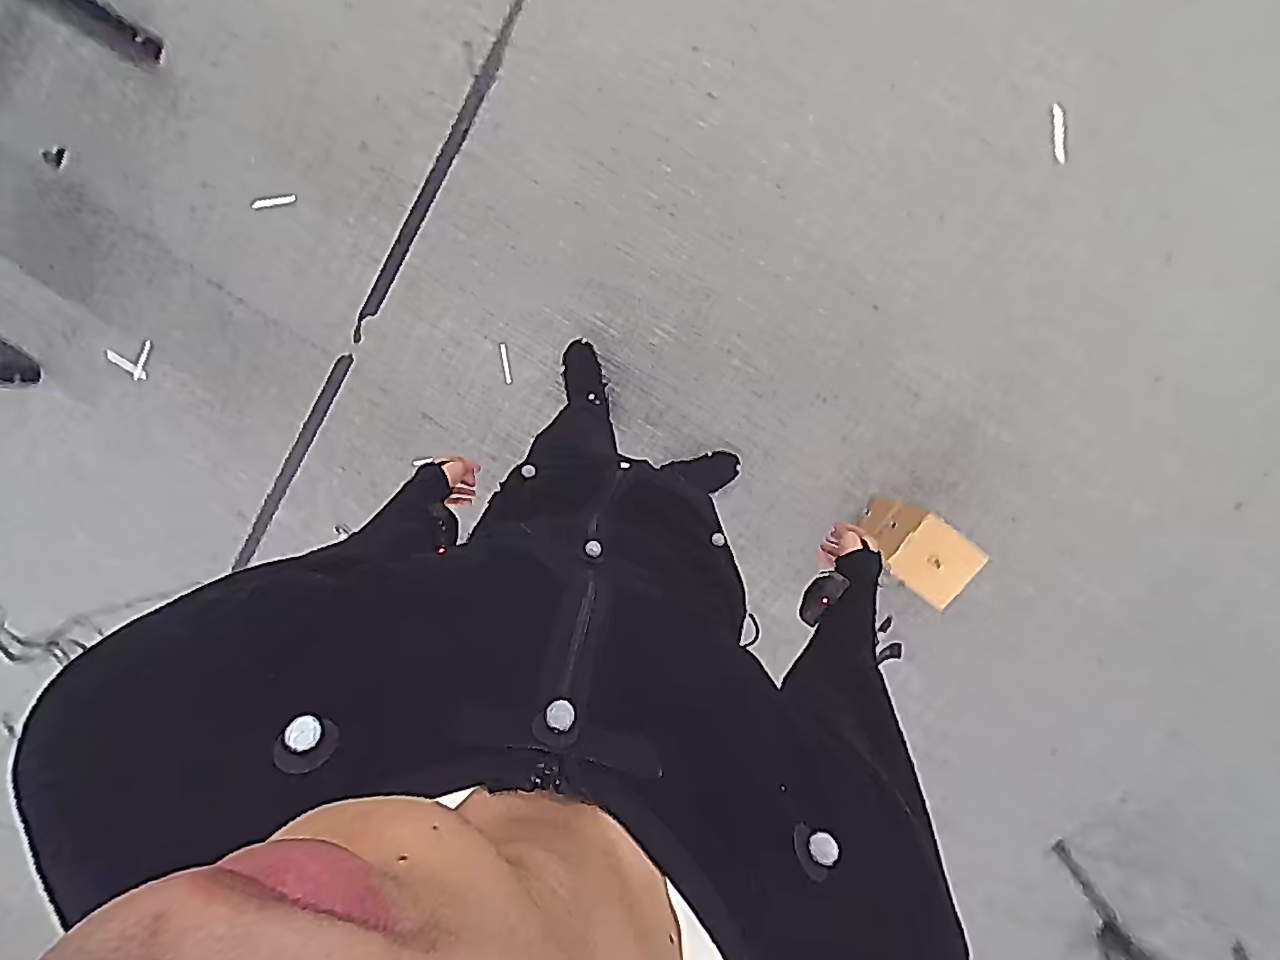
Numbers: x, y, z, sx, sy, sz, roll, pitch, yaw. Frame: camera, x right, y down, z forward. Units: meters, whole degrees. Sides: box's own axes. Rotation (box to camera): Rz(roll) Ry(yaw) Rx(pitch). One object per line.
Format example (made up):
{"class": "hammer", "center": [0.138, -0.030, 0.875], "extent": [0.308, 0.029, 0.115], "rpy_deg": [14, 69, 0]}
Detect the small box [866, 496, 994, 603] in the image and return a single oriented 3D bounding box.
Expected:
{"class": "small box", "center": [0.676, 0.155, 1.284], "extent": [0.179, 0.176, 0.168], "rpy_deg": [38, 100, 0]}

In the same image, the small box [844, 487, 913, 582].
{"class": "small box", "center": [0.683, 0.136, 1.445], "extent": [0.179, 0.176, 0.168], "rpy_deg": [35, 100, -1]}
